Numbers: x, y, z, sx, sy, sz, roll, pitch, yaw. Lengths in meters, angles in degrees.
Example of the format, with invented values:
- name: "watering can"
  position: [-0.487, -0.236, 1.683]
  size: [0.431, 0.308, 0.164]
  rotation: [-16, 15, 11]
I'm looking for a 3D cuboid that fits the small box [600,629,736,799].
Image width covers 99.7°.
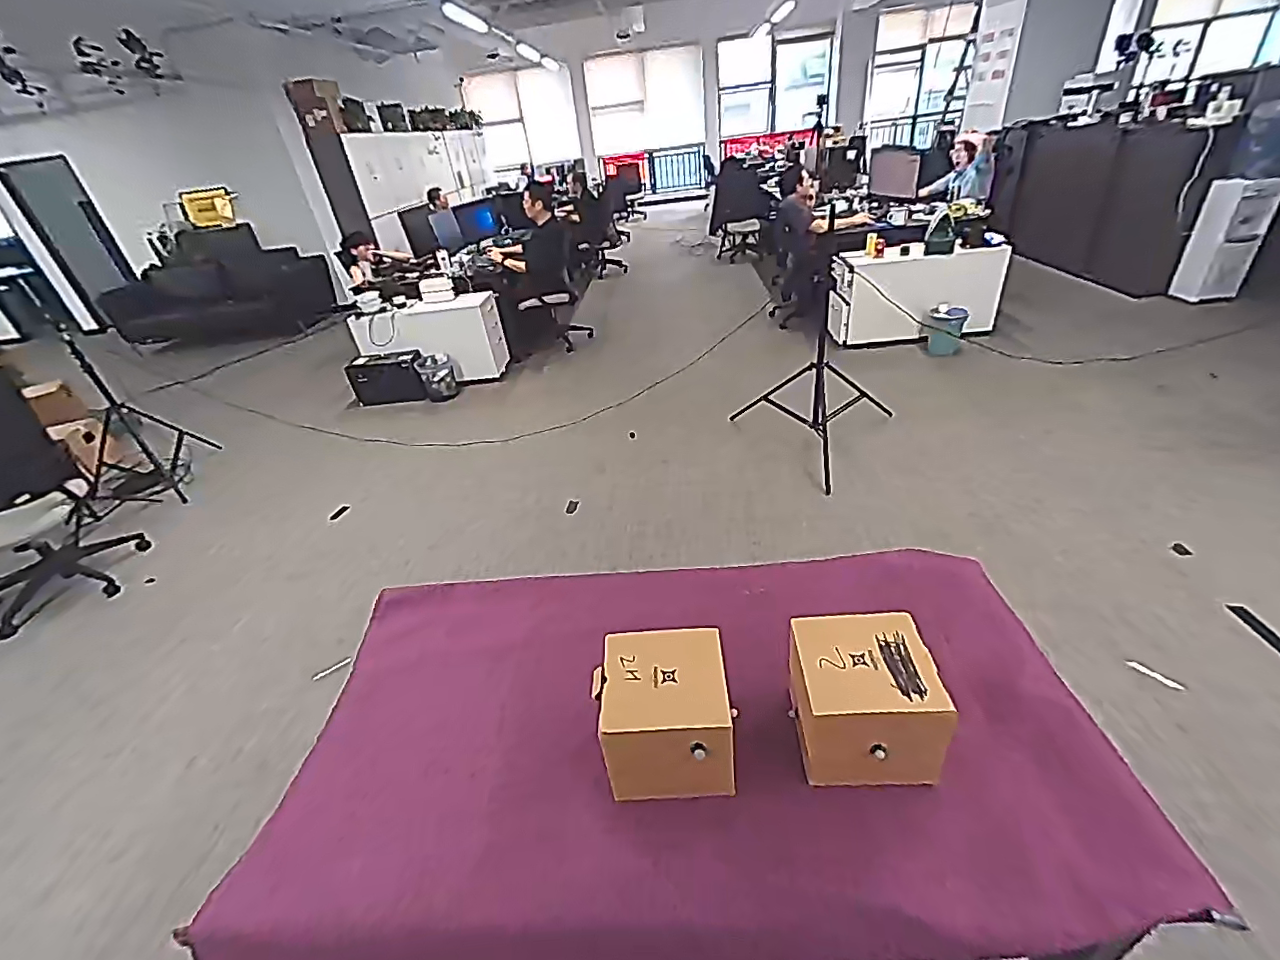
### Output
- name: "small box"
  position: [0.044, 0.344, 0.800]
  size: [0.179, 0.176, 0.168]
  rotation: [-6, 32, 4]
